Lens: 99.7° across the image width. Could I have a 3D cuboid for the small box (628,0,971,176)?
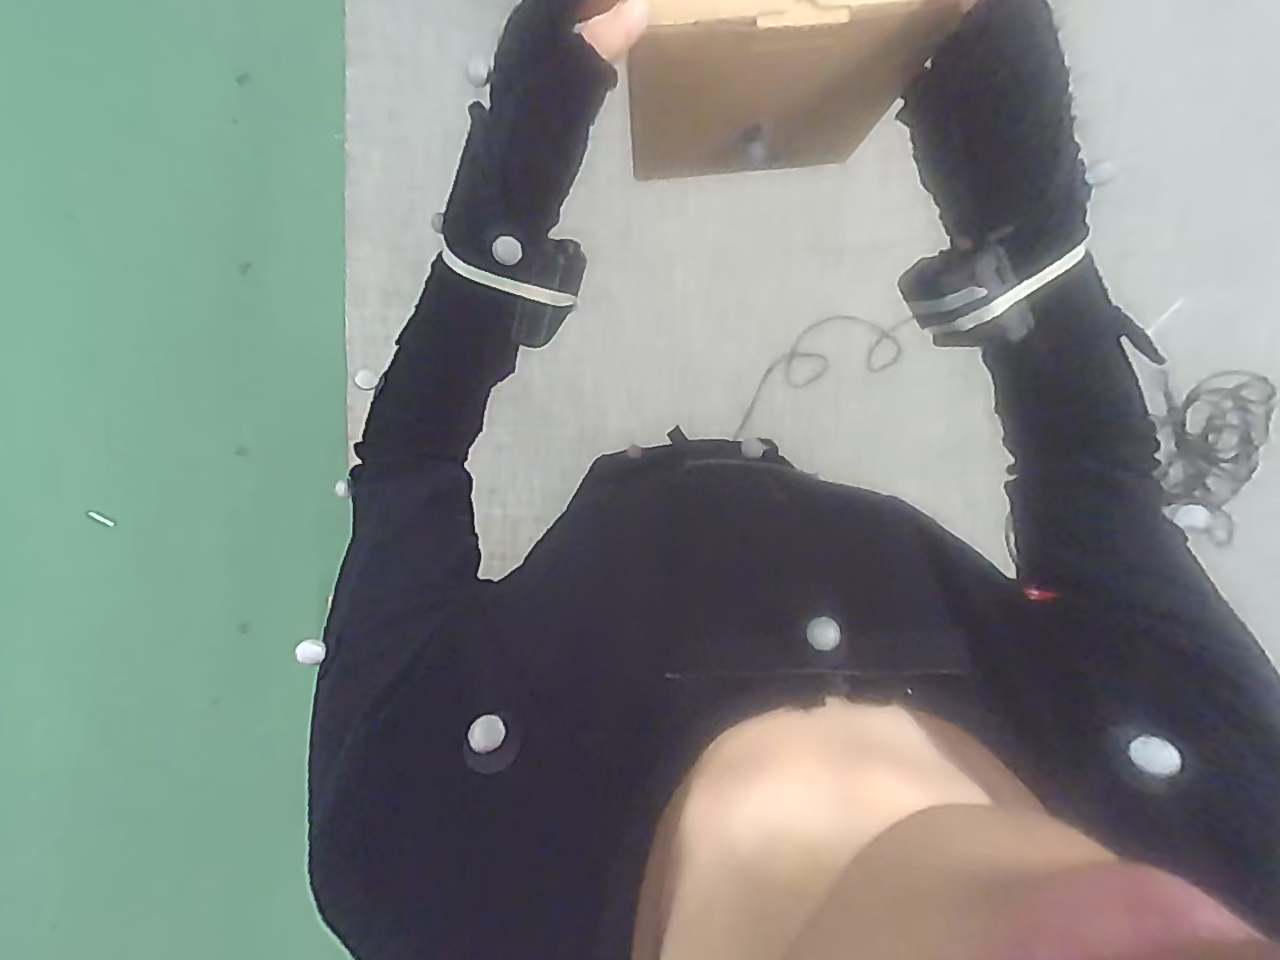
[{"bbox_3d":[0.076,-0.318,0.329,0.168,0.176,0.179,-4,96,1],"label":"small box"}]
